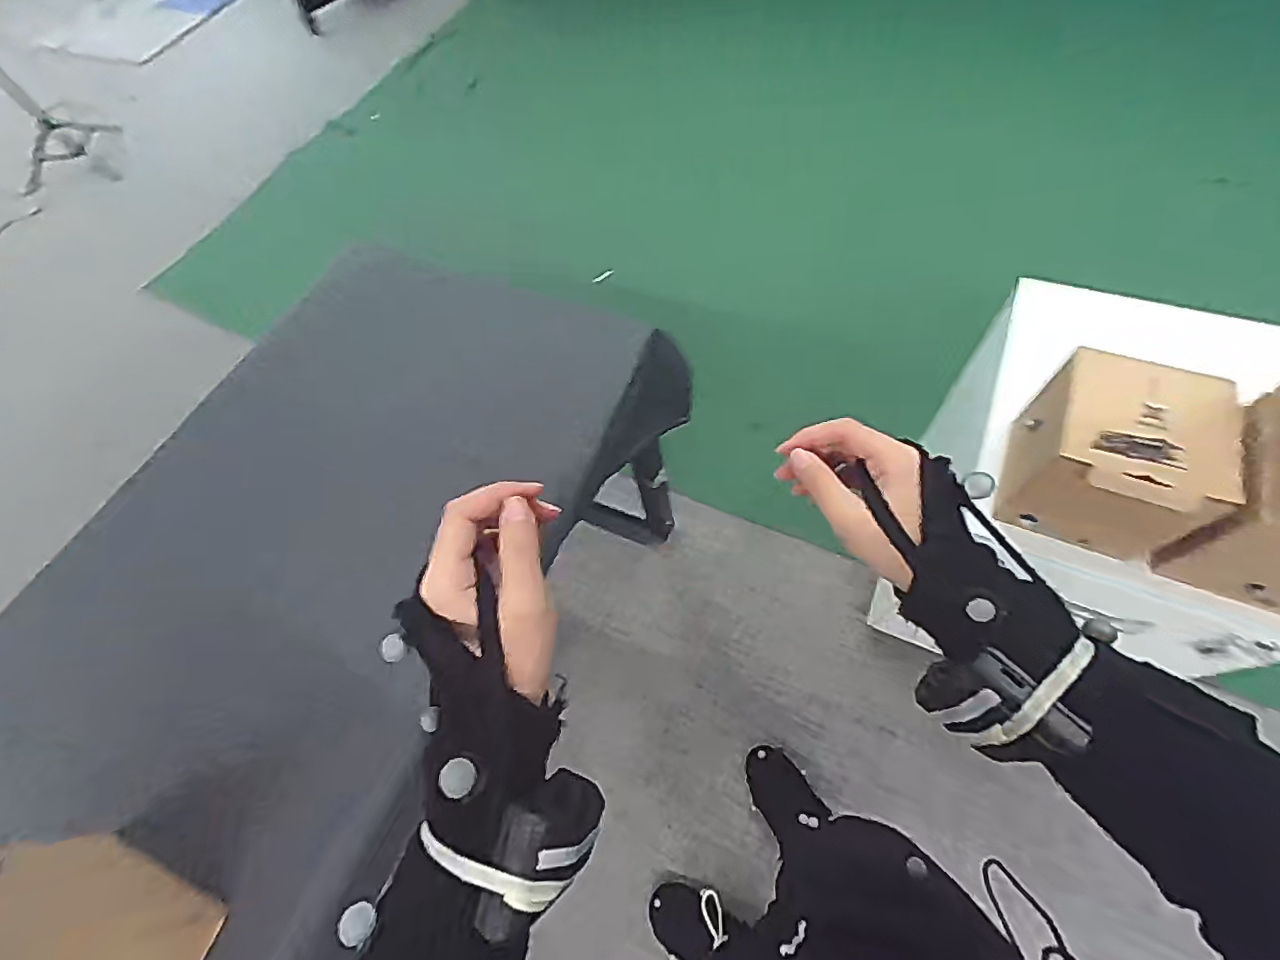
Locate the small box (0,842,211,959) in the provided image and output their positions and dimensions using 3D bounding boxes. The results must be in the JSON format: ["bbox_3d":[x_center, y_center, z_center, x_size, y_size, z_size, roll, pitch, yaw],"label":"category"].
[{"bbox_3d":[-0.510,0.417,0.431,0.179,0.176,0.168,15,66,15],"label":"small box"}]

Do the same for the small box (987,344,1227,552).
[{"bbox_3d":[0.569,-0.033,0.680,0.168,0.176,0.179,21,66,16],"label":"small box"}]

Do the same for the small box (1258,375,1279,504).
[{"bbox_3d":[0.719,-0.046,0.480,0.168,0.176,0.179,21,67,17],"label":"small box"}]
